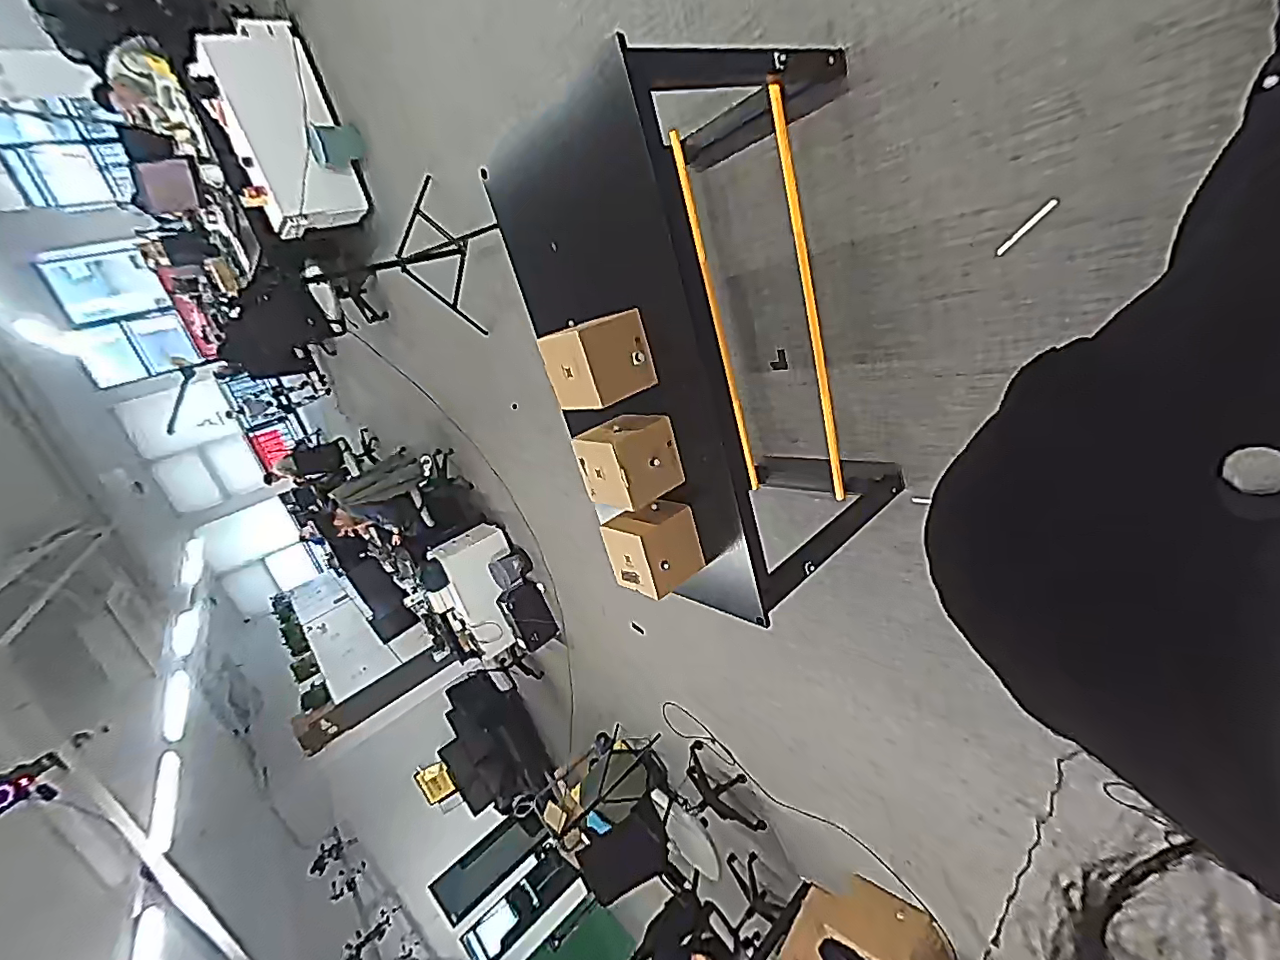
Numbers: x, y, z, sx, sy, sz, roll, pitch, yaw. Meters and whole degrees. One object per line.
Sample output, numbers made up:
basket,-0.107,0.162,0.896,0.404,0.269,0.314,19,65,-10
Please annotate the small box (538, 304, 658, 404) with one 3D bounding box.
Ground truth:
small box,-0.090,-0.274,1.188,0.179,0.176,0.168,7,122,51

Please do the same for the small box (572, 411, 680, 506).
small box,-0.024,-0.058,1.265,0.179,0.176,0.168,9,121,51

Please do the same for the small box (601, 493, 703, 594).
small box,0.035,0.151,1.349,0.168,0.176,0.179,9,121,51
